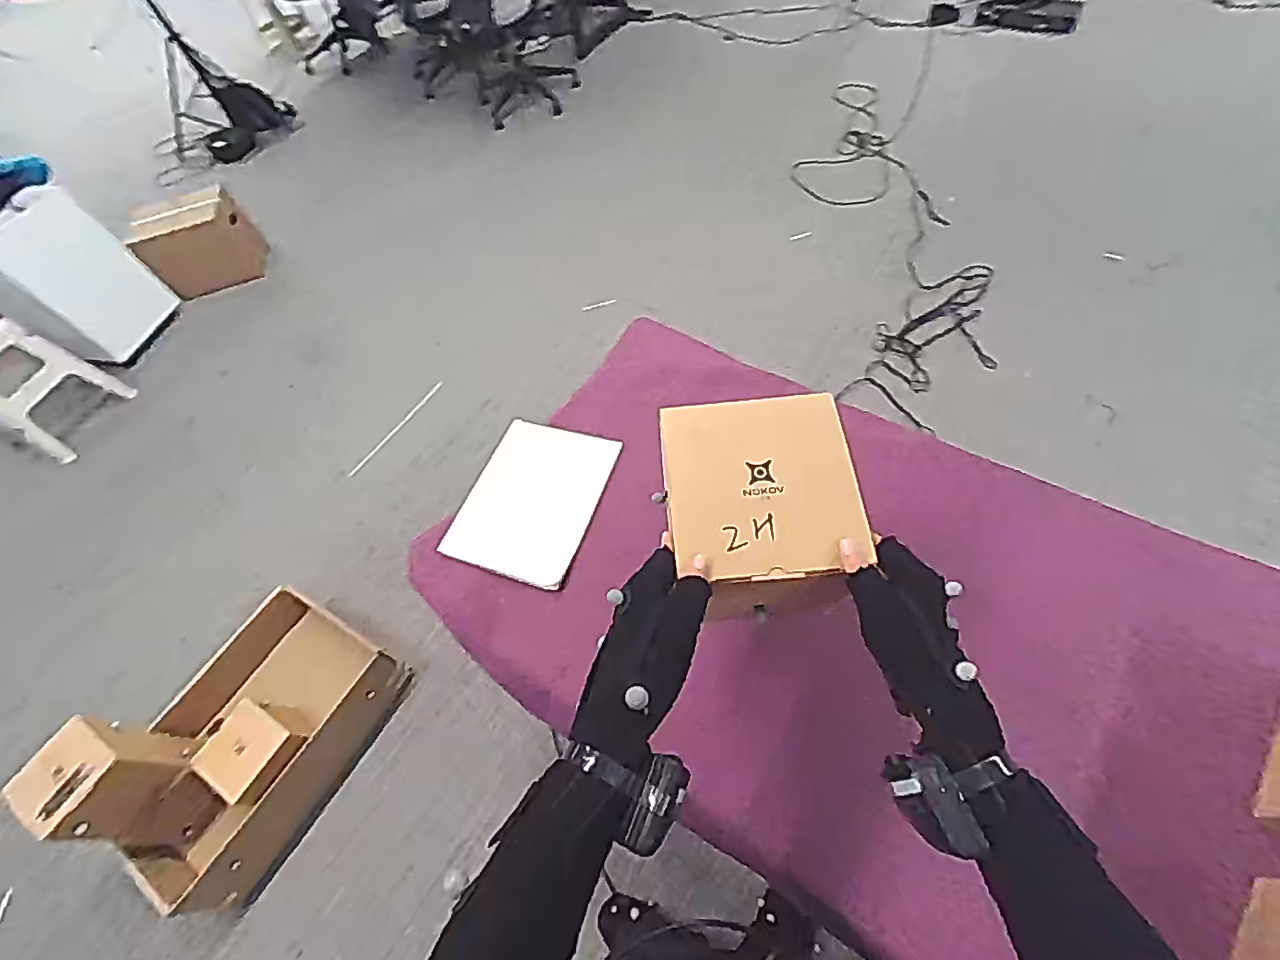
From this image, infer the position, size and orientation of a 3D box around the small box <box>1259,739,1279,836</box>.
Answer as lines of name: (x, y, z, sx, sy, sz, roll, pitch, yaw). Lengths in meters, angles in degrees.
small box: (0.707, 0.272, 0.460, 0.168, 0.176, 0.179, 34, 69, 26)

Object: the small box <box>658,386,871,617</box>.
small box: (0.104, 0.030, 0.544, 0.168, 0.176, 0.179, -5, 65, 2)
